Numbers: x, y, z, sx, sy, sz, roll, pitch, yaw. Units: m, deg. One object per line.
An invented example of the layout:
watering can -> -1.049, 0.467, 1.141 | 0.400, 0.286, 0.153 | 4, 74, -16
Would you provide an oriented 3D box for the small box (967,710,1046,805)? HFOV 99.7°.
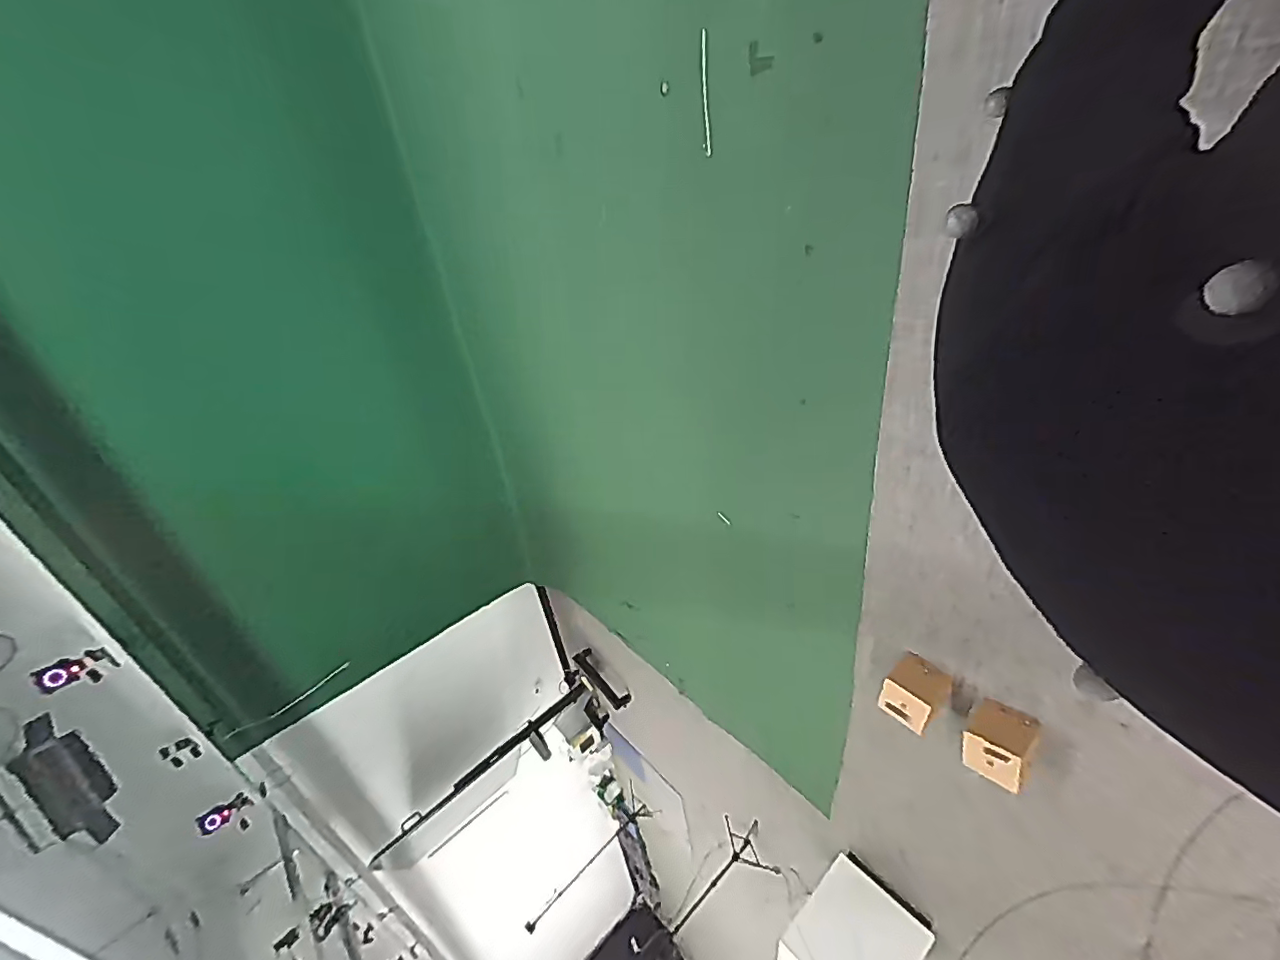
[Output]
small box -> 1.184, 0.886, 1.747 | 0.168, 0.176, 0.179 | 18, 130, 50
